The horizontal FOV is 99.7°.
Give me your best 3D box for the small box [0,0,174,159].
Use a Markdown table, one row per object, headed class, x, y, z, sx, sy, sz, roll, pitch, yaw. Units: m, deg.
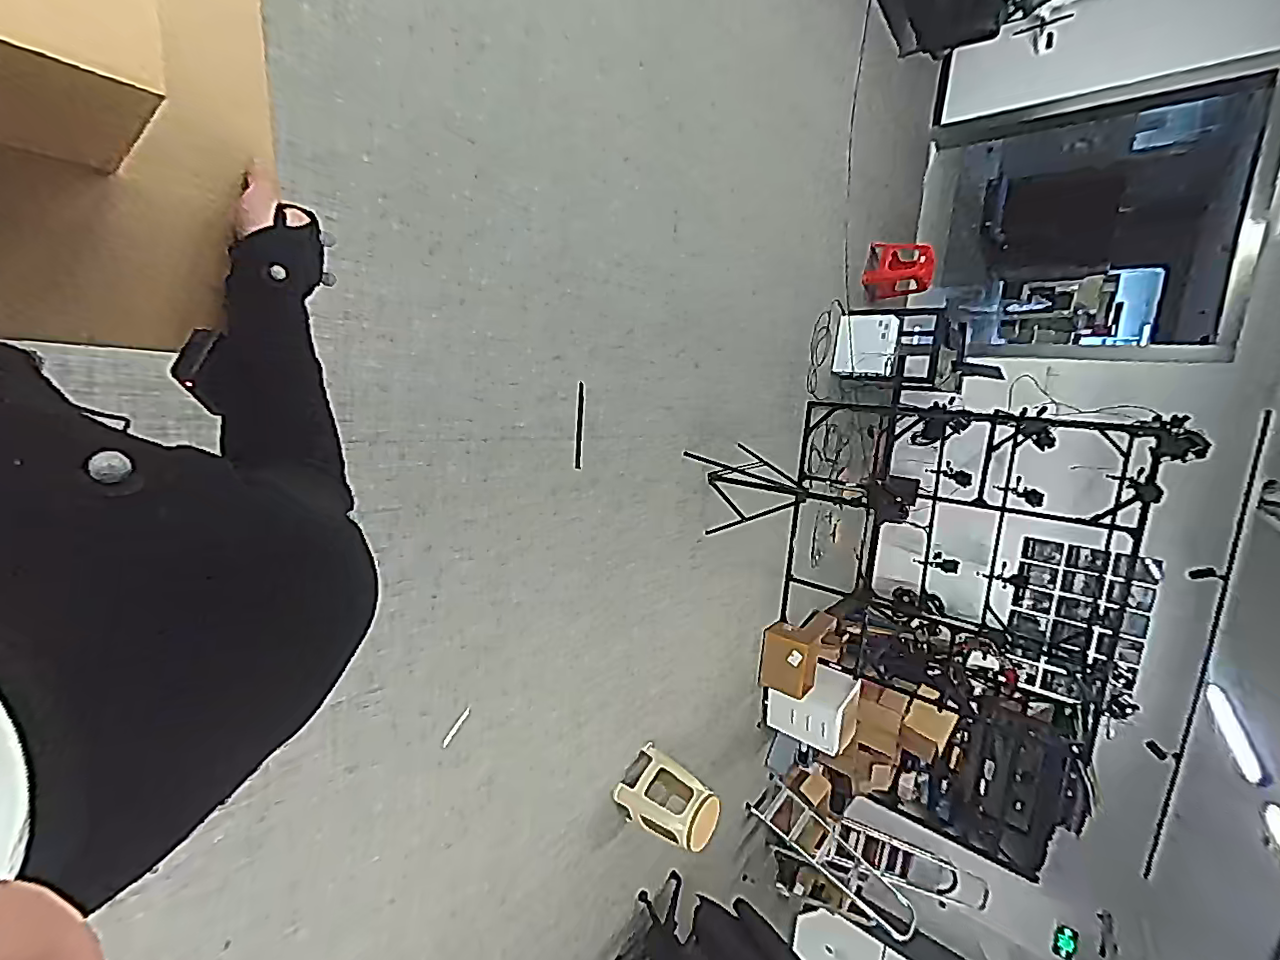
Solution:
| class | x | y | z | sx | sy | sz | roll | pitch | yaw |
| --- | --- | --- | --- | --- | --- | --- | --- | --- | --- |
| small box | -0.437 | -0.333 | 0.343 | 0.179 | 0.176 | 0.168 | -10 | 101 | -51 |
